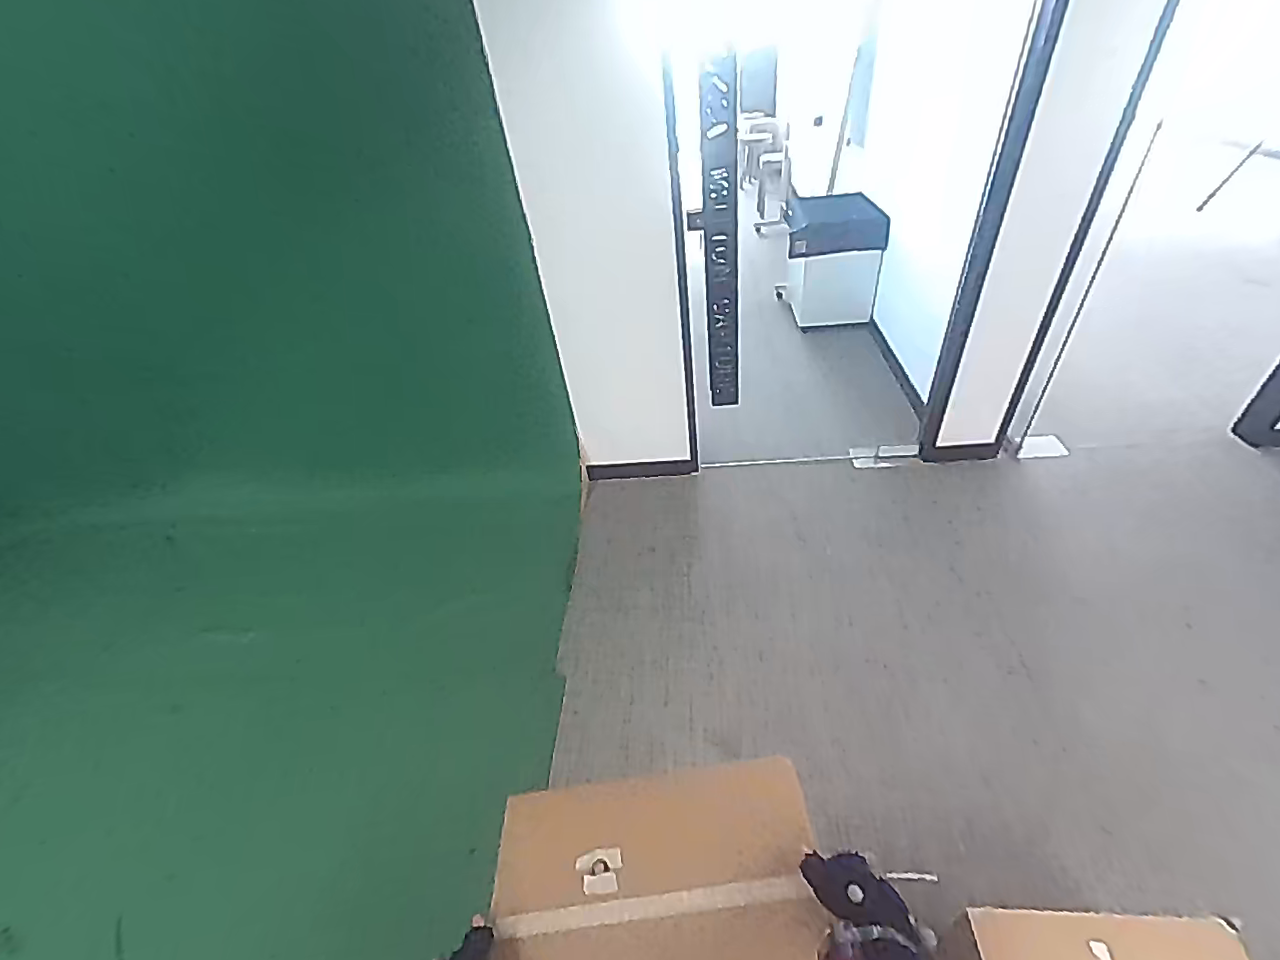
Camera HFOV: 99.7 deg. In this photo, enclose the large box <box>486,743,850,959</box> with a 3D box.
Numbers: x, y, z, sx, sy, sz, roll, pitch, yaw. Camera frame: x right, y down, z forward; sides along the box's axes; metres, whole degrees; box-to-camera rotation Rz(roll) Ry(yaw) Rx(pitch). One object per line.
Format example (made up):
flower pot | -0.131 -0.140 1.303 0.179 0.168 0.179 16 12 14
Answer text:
large box | 0.046 0.607 0.717 0.408 0.320 0.320 -11 34 4
